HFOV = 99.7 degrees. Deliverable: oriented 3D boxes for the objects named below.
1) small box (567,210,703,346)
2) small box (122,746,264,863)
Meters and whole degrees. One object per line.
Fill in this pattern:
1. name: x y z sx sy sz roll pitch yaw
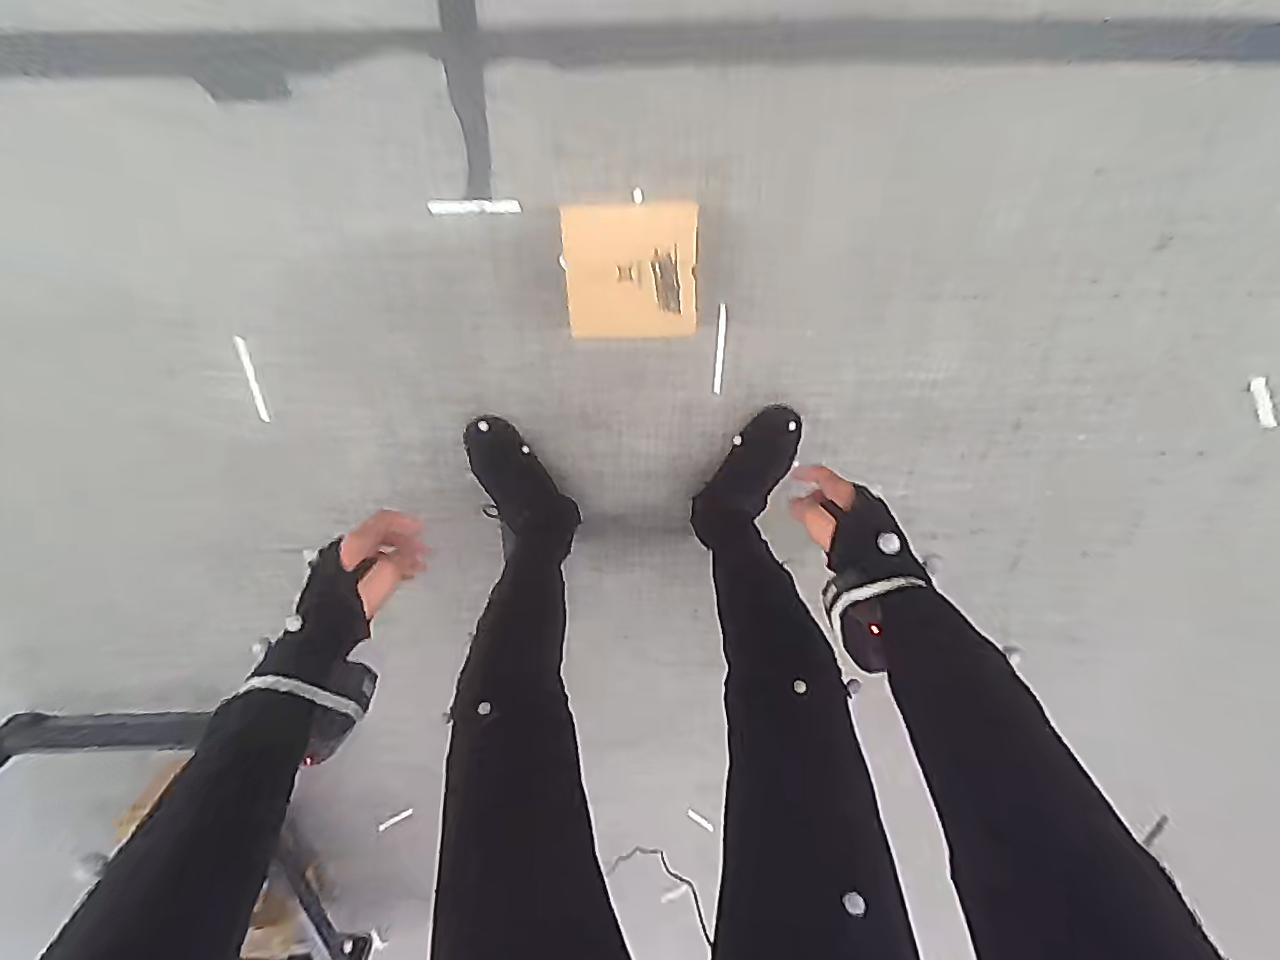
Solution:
1. small box: -0.007 -0.298 0.788 0.179 0.176 0.168 -2 117 1
2. small box: -1.093 0.800 1.340 0.179 0.176 0.168 -26 115 13
